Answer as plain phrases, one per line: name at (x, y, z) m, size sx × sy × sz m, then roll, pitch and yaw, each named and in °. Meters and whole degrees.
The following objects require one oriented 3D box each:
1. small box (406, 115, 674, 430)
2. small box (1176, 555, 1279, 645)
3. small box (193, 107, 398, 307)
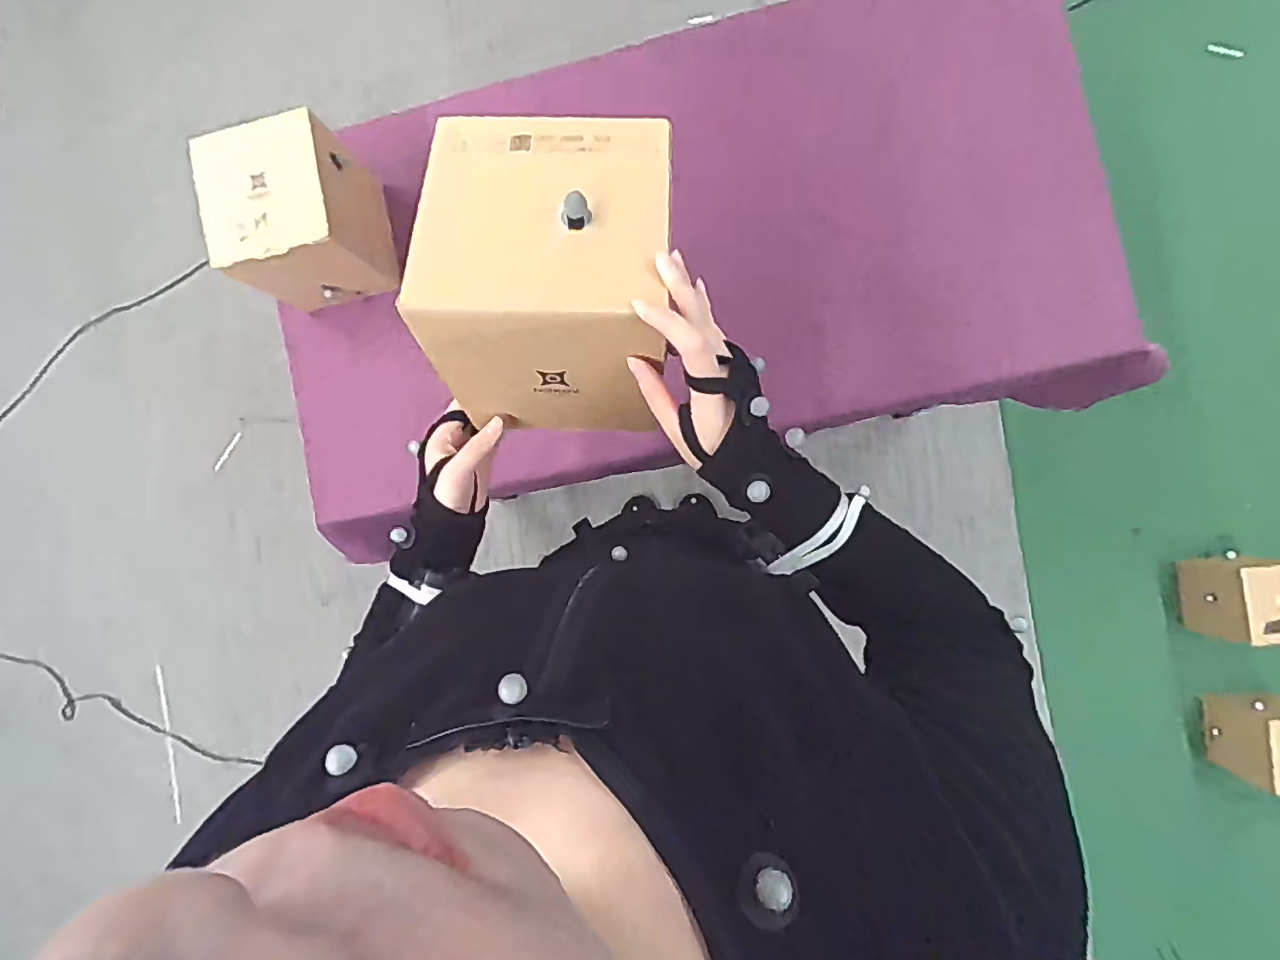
small box at (-0.060, -0.154, 0.431) m, size 0.168 × 0.179 × 0.176 m, roll 3°, pitch 70°, yaw 1°
small box at (1.434, 0.278, 1.278) m, size 0.168 × 0.176 × 0.179 m, roll -6°, pitch 87°, yaw 6°
small box at (-0.471, -0.369, 0.763) m, size 0.168 × 0.176 × 0.179 m, roll -11°, pitch 88°, yaw 6°
